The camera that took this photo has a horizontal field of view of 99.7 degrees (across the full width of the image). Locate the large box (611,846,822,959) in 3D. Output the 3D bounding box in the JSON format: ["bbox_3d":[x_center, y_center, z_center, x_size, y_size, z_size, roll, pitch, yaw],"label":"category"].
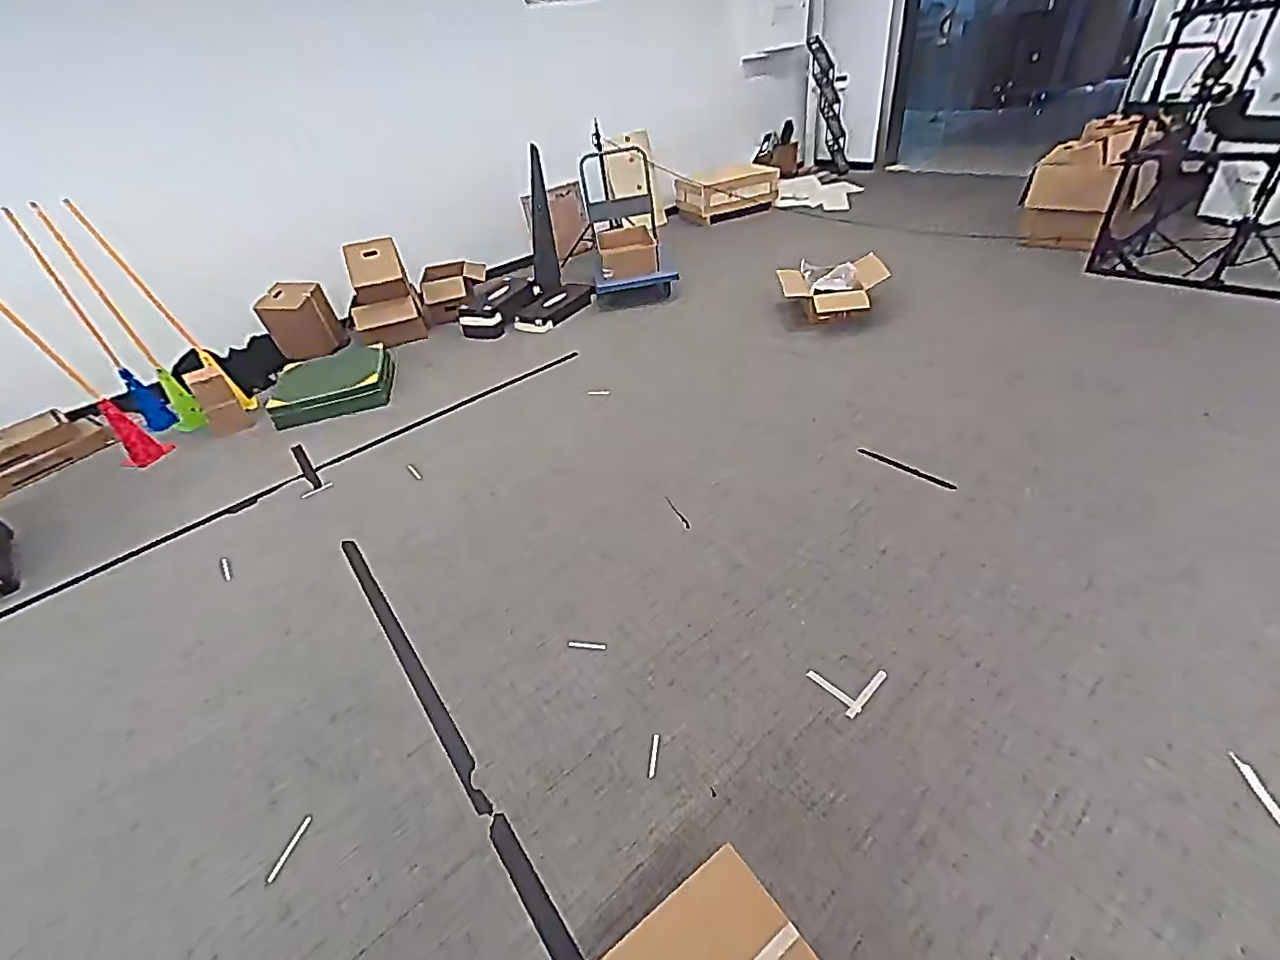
[{"bbox_3d":[0.113,0.918,0.865,0.408,0.320,0.320,-28,42,-23],"label":"large box"}]
